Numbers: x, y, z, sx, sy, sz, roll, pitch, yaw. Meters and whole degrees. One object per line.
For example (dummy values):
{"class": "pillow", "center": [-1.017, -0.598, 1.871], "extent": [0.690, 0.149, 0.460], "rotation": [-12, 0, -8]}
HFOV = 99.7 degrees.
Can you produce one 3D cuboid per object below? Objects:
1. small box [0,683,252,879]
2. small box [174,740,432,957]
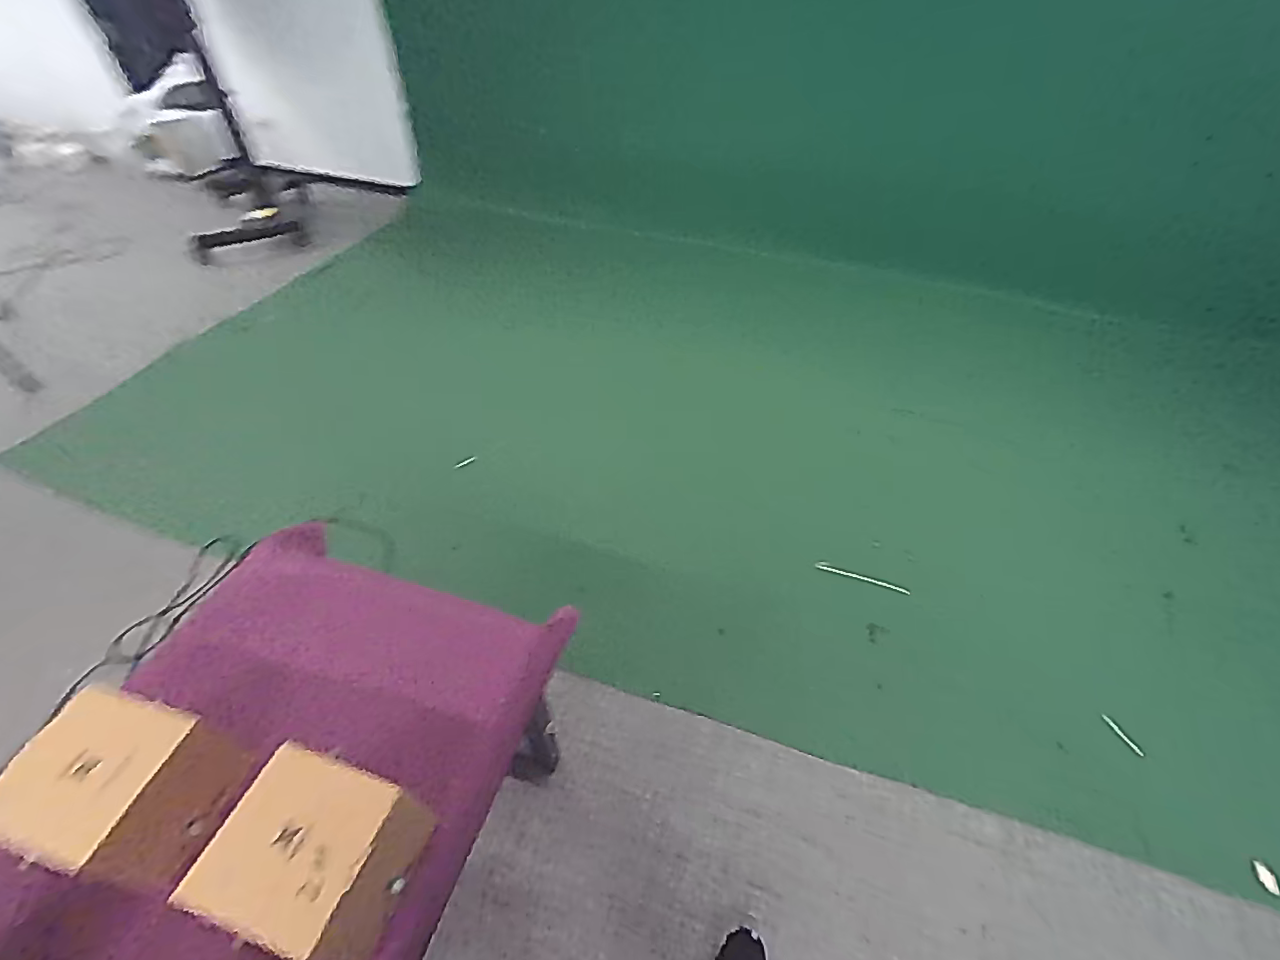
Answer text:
{"class": "small box", "center": [-0.675, 0.398, 0.710], "extent": [0.179, 0.176, 0.168], "rotation": [13, 49, 8]}
{"class": "small box", "center": [-0.392, 0.455, 0.666], "extent": [0.179, 0.176, 0.168], "rotation": [14, 48, 12]}
